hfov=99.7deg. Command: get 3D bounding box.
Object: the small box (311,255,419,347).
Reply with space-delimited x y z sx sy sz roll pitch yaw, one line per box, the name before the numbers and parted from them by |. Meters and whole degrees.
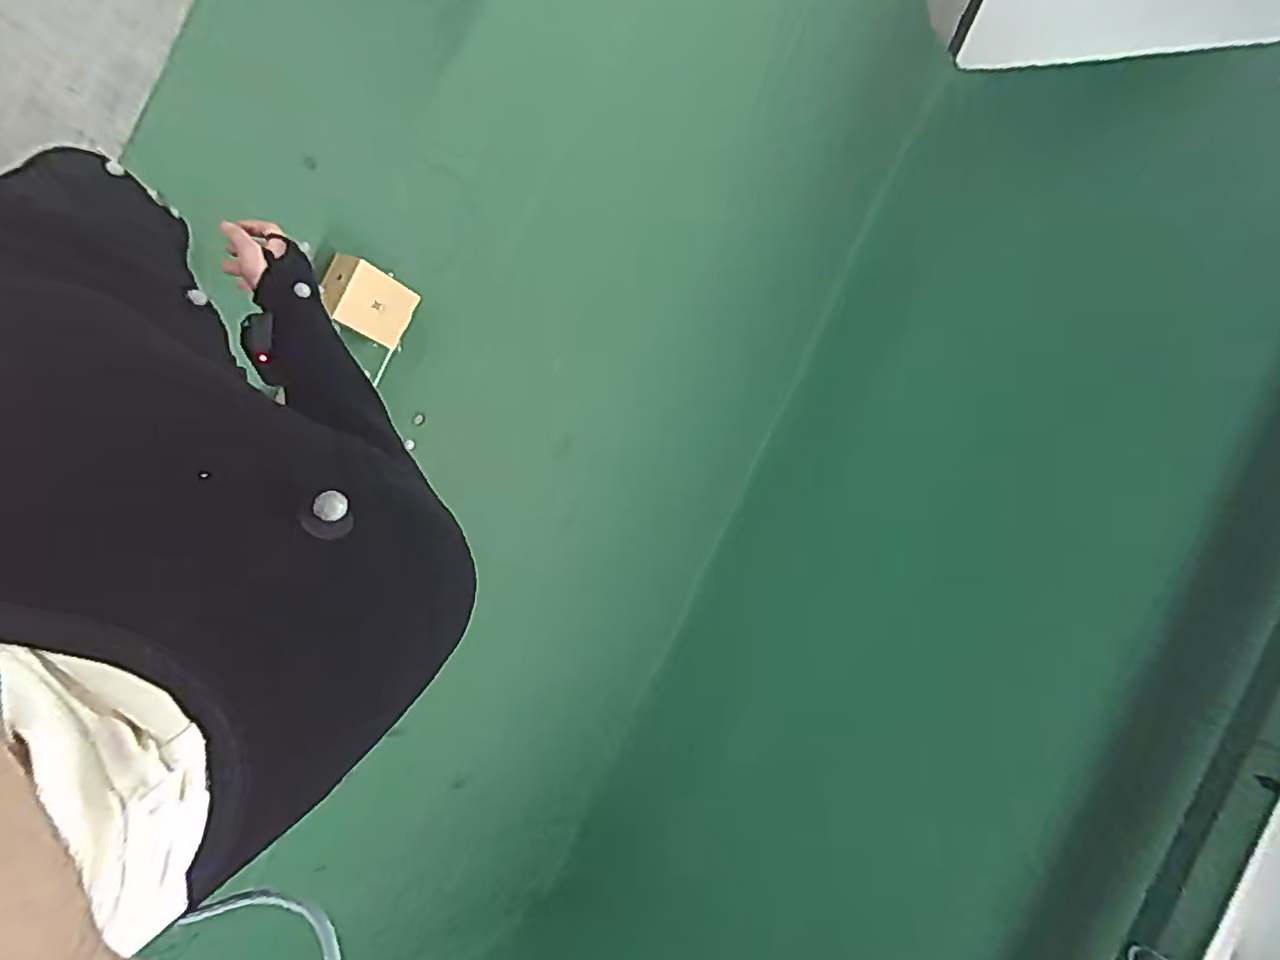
small box | -0.733 -0.477 1.435 0.179 0.176 0.168 27 88 -54
